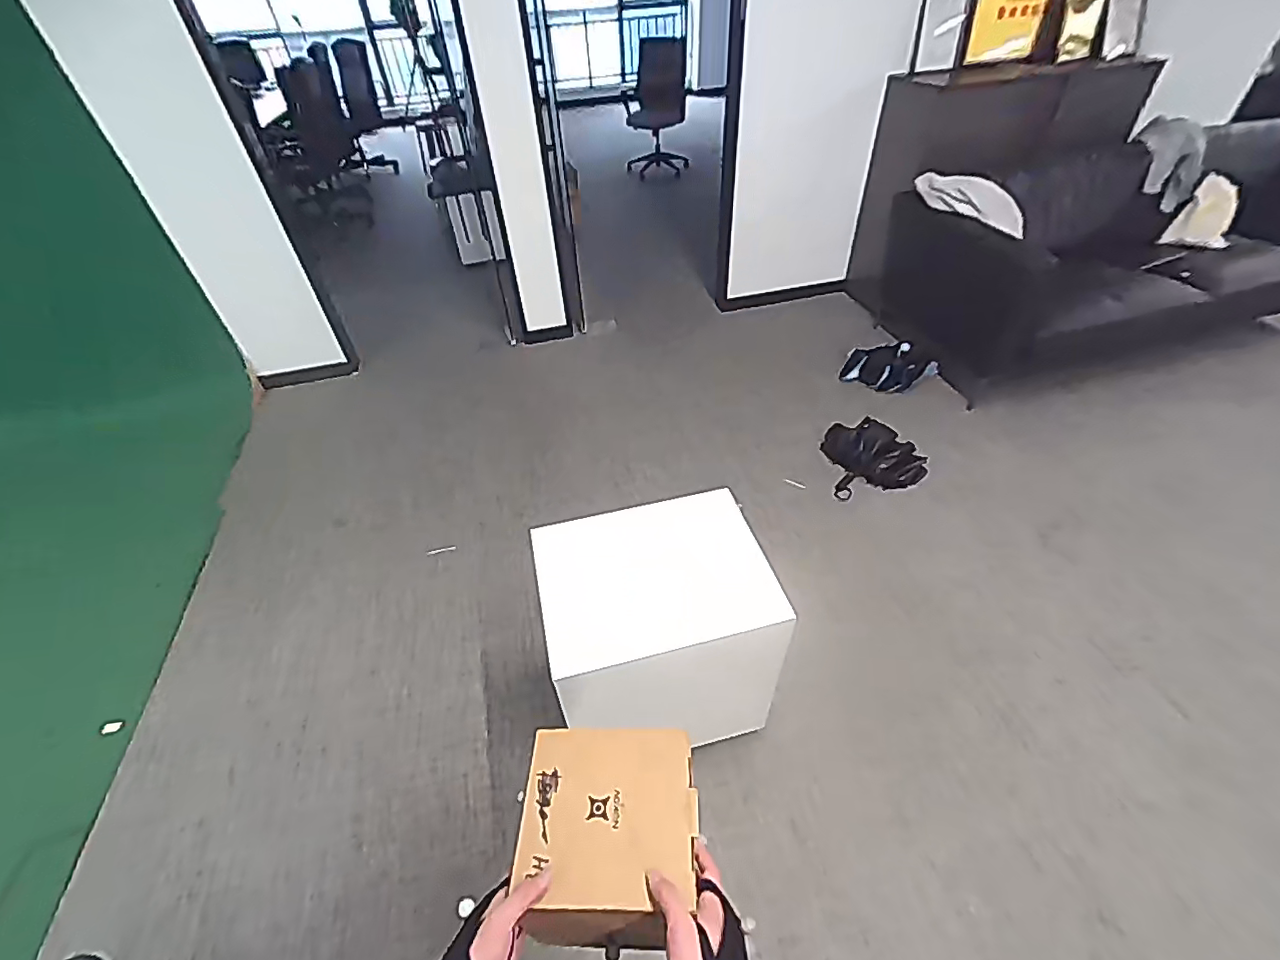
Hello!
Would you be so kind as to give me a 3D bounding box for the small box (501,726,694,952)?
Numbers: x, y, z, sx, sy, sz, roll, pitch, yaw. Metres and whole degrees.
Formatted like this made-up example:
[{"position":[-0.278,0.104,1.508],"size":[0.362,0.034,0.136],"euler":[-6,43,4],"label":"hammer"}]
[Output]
[{"position":[-0.033,0.393,0.594],"size":[0.179,0.176,0.168],"euler":[0,39,3],"label":"small box"}]
